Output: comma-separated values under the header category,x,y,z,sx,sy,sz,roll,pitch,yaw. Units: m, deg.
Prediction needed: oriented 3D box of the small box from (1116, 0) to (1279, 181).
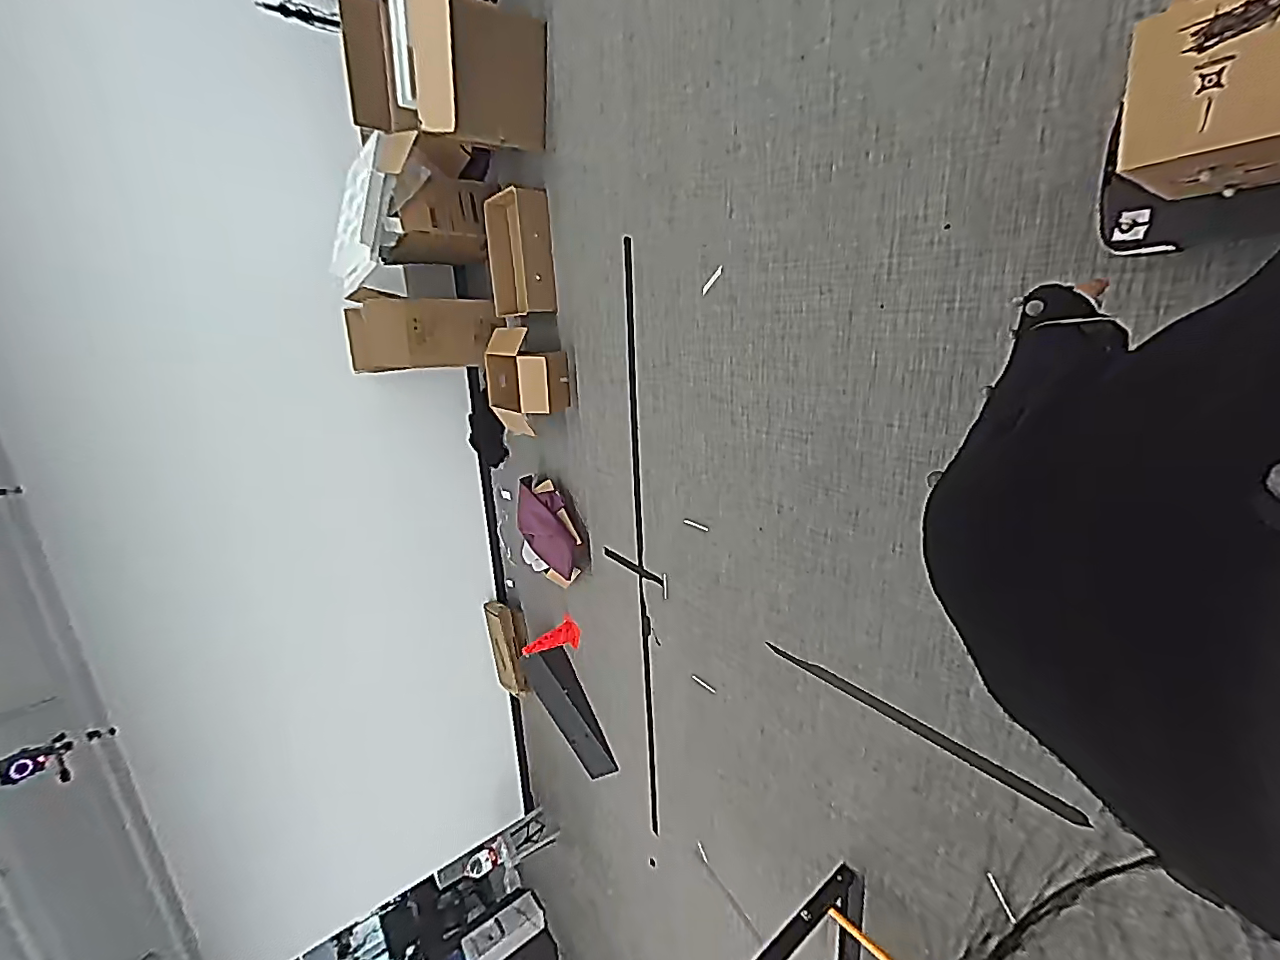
category,x,y,z,sx,sy,sz,roll,pitch,yaw
small box,0.745,-0.504,0.687,0.168,0.176,0.179,14,114,51

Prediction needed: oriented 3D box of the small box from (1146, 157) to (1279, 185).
category,x,y,z,sx,sy,sz,roll,pitch,yaw
small box,0.876,-0.532,0.782,0.168,0.176,0.179,17,115,51

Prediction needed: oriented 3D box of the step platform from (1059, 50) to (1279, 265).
category,x,y,z,sx,sy,sz,roll,pitch,yaw
step platform,0.951,-0.450,0.648,0.684,0.204,0.286,16,114,50
